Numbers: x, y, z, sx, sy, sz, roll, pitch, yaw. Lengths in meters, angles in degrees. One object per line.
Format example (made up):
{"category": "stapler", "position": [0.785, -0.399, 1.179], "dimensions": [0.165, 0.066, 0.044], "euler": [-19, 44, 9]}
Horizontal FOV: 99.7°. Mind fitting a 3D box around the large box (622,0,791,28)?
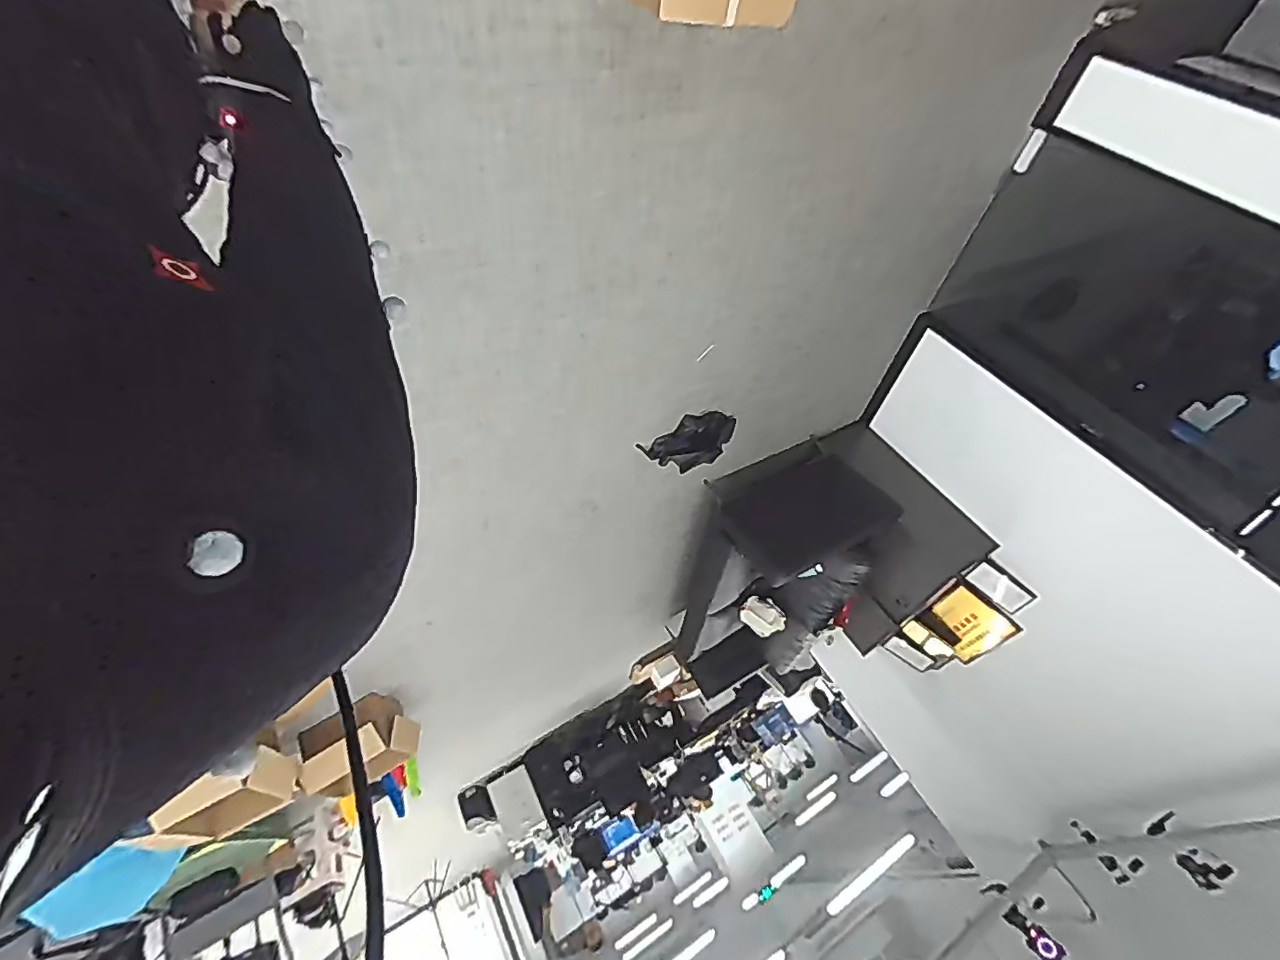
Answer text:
{"category": "large box", "position": [0.109, -1.076, 0.921], "dimensions": [0.320, 0.320, 0.408], "euler": [-20, 148, -25]}
